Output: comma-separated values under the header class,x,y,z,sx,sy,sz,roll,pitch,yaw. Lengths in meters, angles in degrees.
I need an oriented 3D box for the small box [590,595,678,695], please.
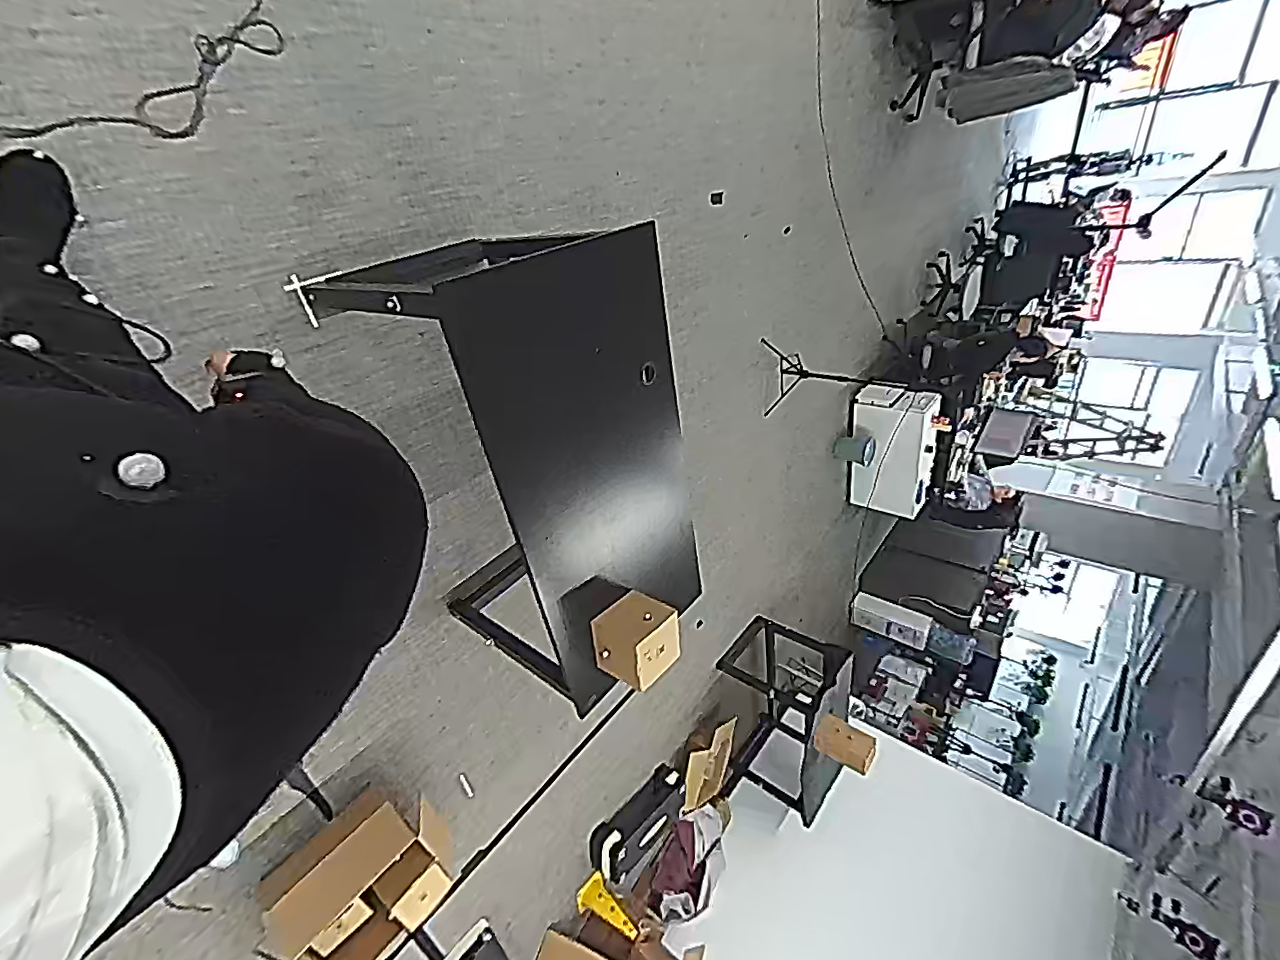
class,x,y,z,sx,sy,sz,roll,pitch,yaw
small box,-0.015,0.448,1.502,0.179,0.176,0.168,-29,123,-42
